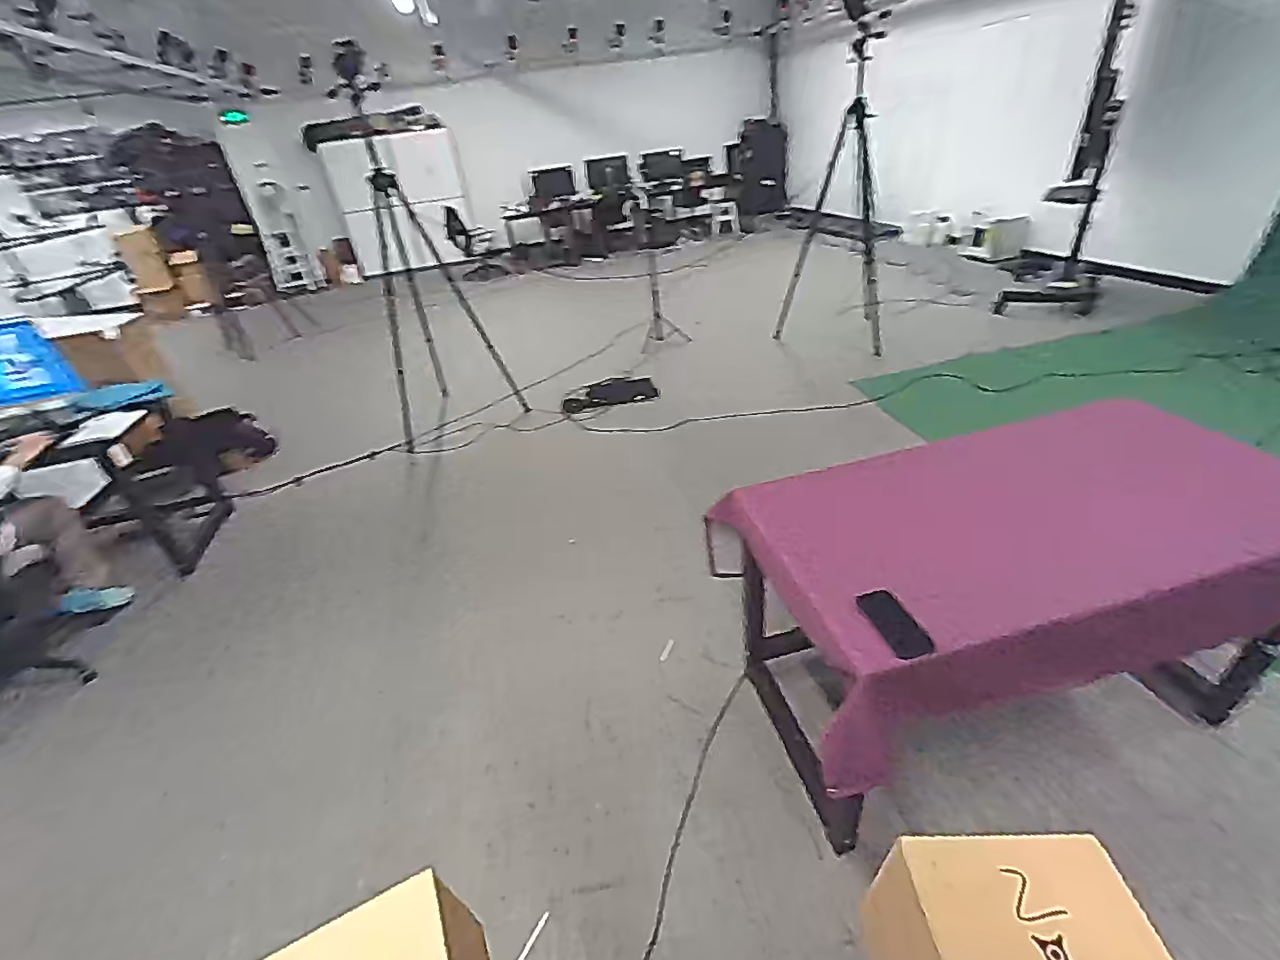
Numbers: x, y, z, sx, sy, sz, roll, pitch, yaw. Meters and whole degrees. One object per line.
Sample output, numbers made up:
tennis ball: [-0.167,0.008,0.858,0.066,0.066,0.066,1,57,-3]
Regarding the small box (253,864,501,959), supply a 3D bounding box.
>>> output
small box: [-0.195,0.460,0.424,0.168,0.176,0.179,-19,41,-18]
